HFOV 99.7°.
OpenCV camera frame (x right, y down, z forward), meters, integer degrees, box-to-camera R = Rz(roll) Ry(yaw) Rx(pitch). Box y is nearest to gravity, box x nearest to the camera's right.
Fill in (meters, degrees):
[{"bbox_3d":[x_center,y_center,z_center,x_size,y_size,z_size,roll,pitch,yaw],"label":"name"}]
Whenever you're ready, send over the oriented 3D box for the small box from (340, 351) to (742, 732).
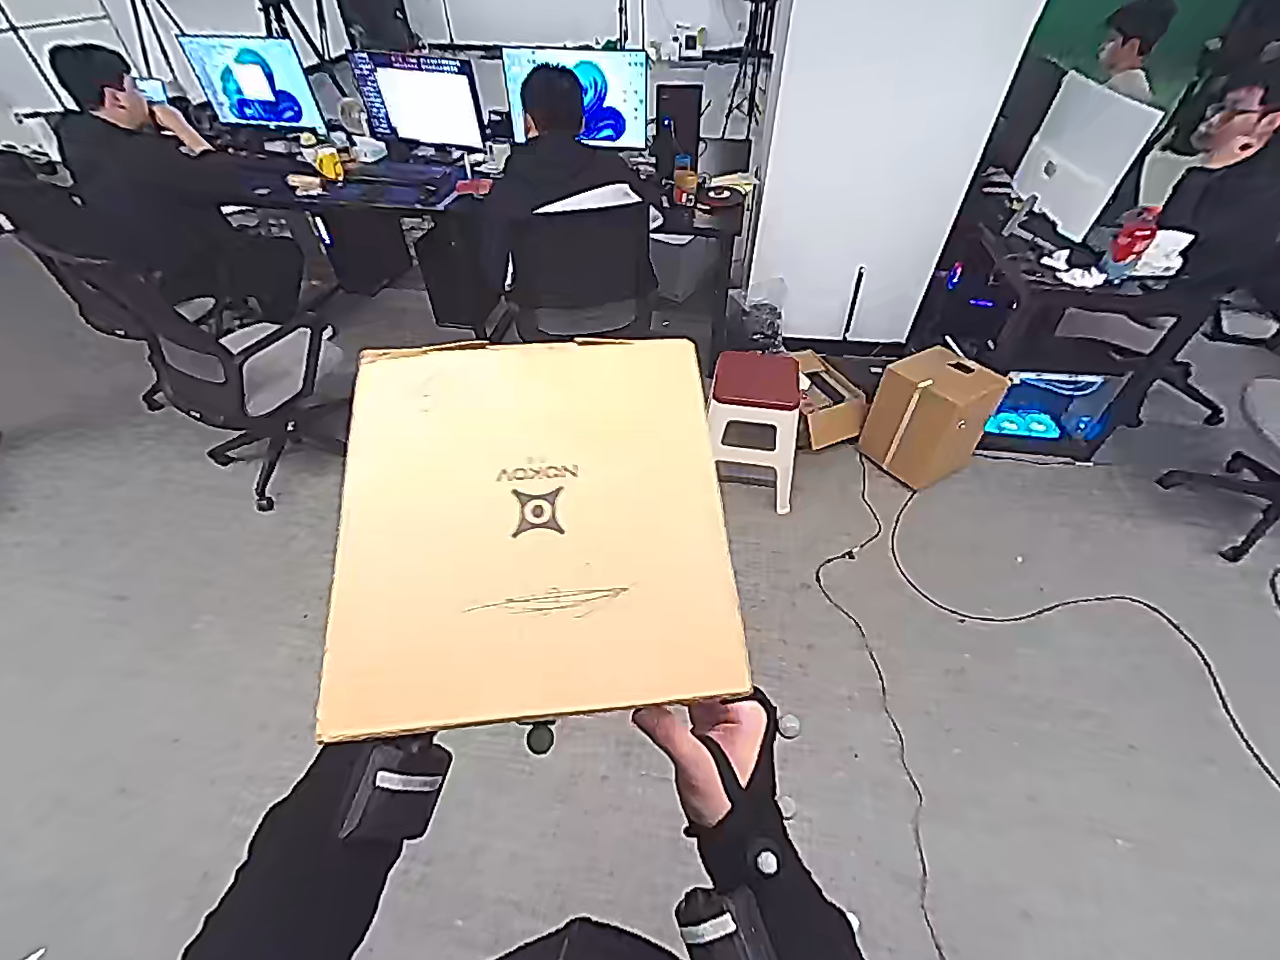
[{"bbox_3d":[-0.051,0.046,0.325,0.168,0.176,0.179,-4,69,-6],"label":"small box"}]
